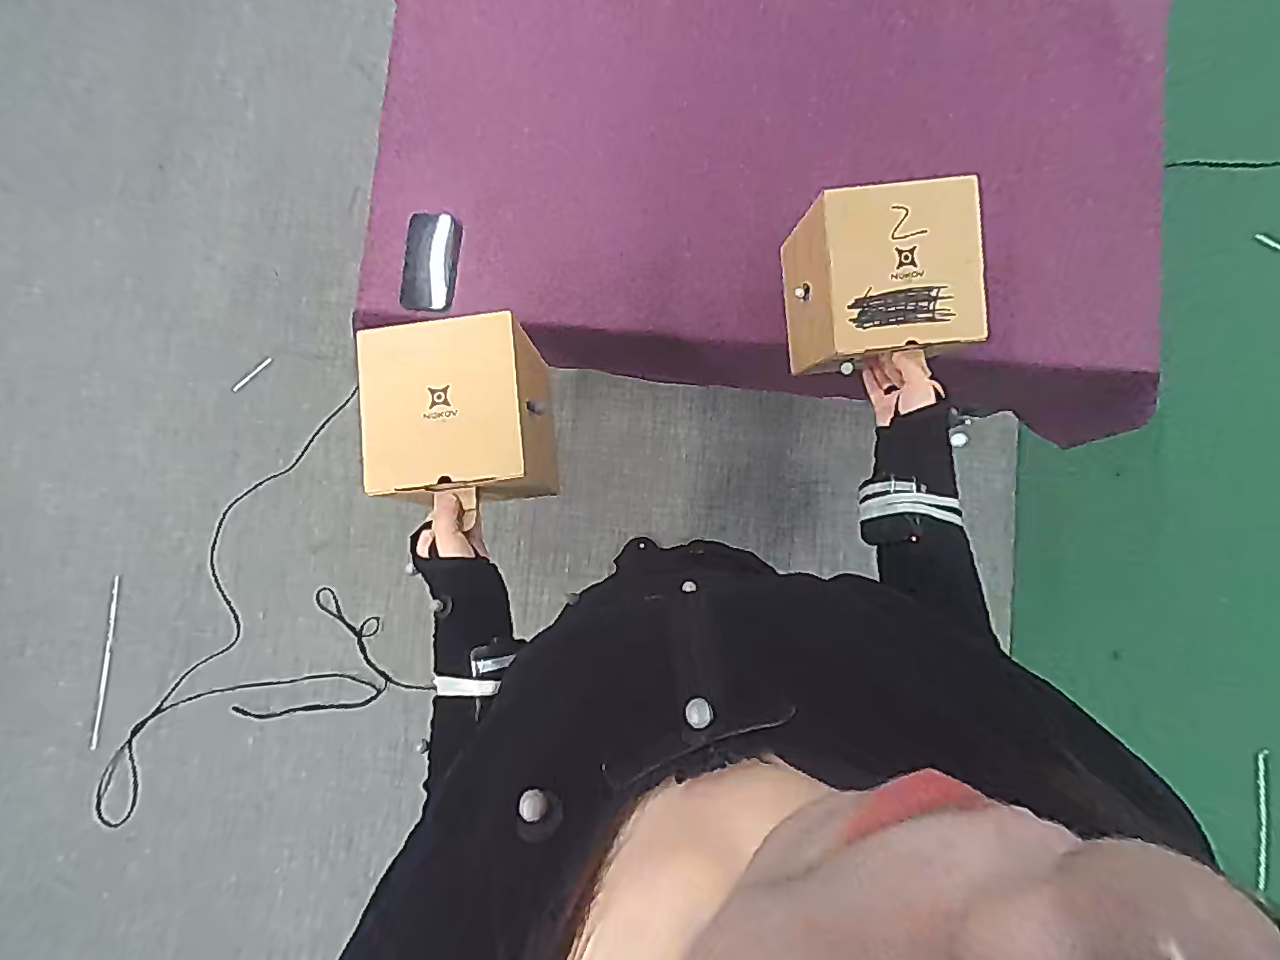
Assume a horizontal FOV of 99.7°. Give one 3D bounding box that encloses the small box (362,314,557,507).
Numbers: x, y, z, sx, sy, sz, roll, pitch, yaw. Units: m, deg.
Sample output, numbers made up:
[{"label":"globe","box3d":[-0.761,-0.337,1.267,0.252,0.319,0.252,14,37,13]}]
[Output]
[{"label":"small box","box3d":[-0.196,-0.068,0.625,0.168,0.176,0.179,-6,83,2]}]
